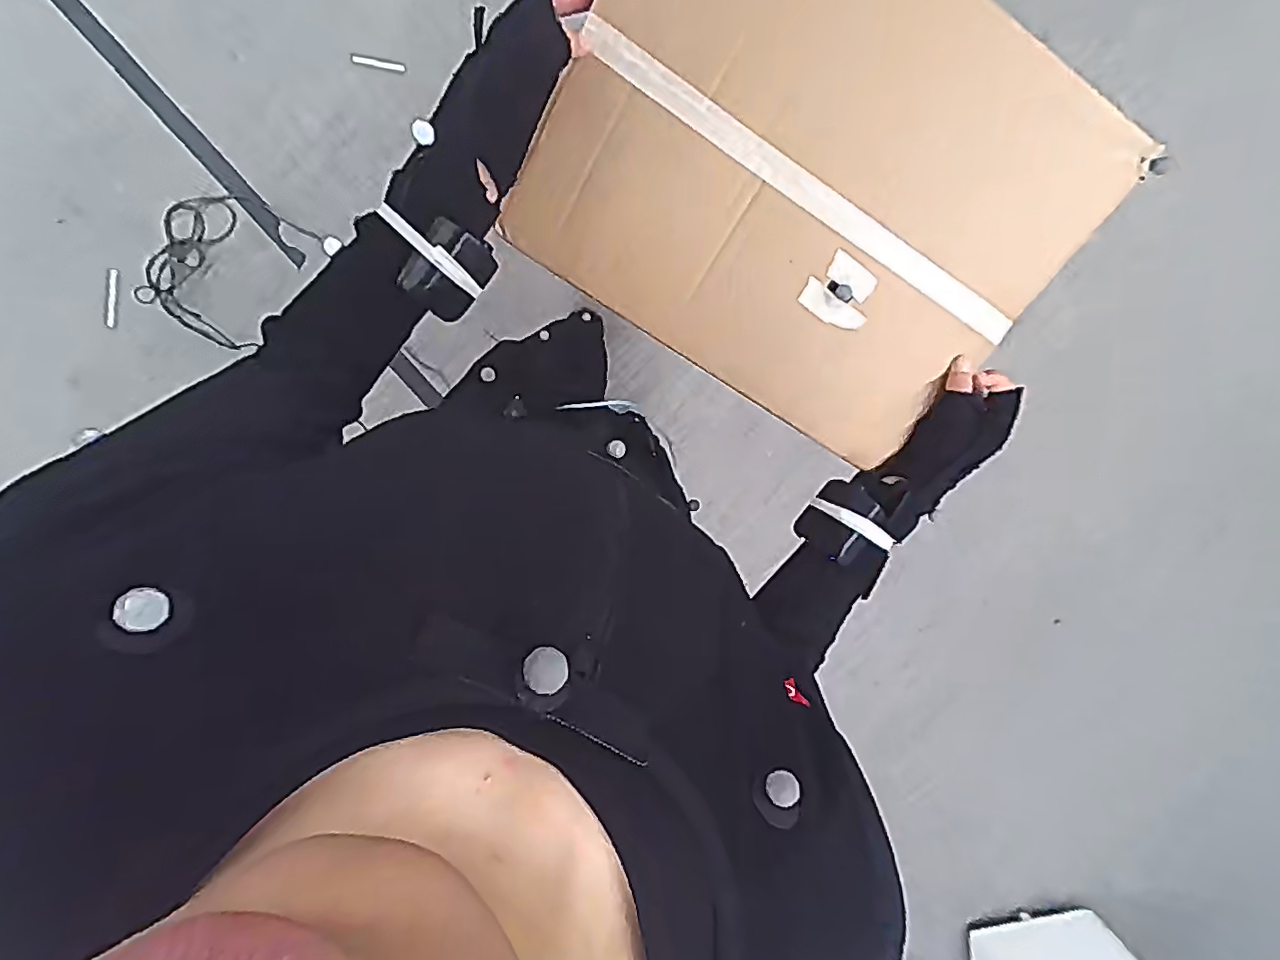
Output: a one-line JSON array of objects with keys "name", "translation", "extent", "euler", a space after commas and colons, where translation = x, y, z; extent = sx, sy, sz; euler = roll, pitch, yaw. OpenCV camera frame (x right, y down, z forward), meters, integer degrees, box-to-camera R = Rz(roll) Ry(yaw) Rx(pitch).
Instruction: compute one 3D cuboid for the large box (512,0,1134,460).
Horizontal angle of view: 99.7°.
[{"name": "large box", "translation": [0.140, -0.289, 0.571], "extent": [0.408, 0.320, 0.320], "euler": [31, 112, -10]}]
